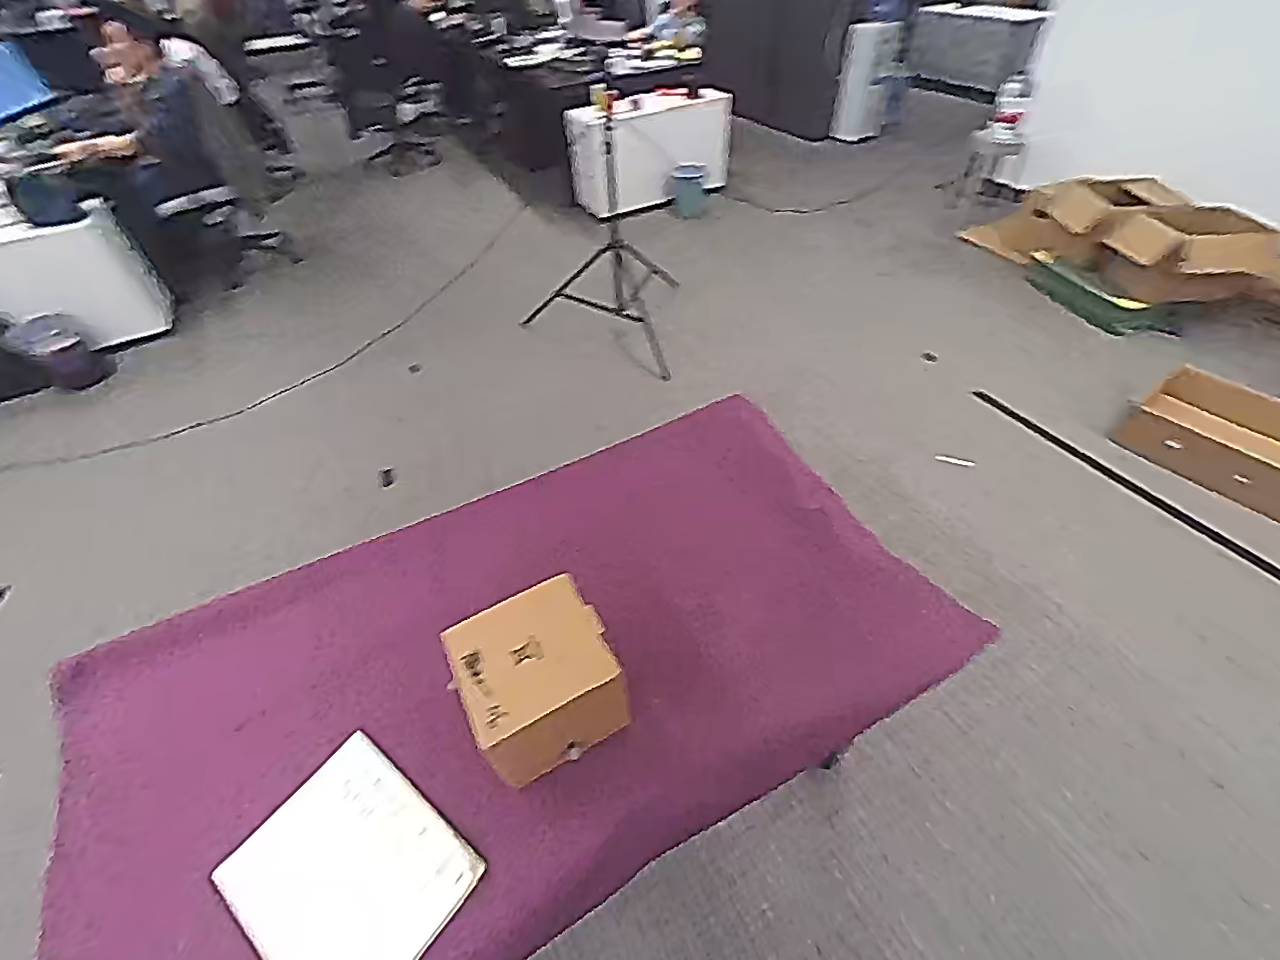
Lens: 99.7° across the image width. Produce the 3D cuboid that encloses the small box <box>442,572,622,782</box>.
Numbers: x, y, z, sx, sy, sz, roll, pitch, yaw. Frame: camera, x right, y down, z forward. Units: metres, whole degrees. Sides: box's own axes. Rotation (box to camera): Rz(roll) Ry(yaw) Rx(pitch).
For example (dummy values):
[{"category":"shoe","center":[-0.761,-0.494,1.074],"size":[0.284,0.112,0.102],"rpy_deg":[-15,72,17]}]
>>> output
[{"category":"small box","center":[-0.135,0.260,0.716],"size":[0.179,0.176,0.168],"rpy_deg":[-23,49,-18]}]
